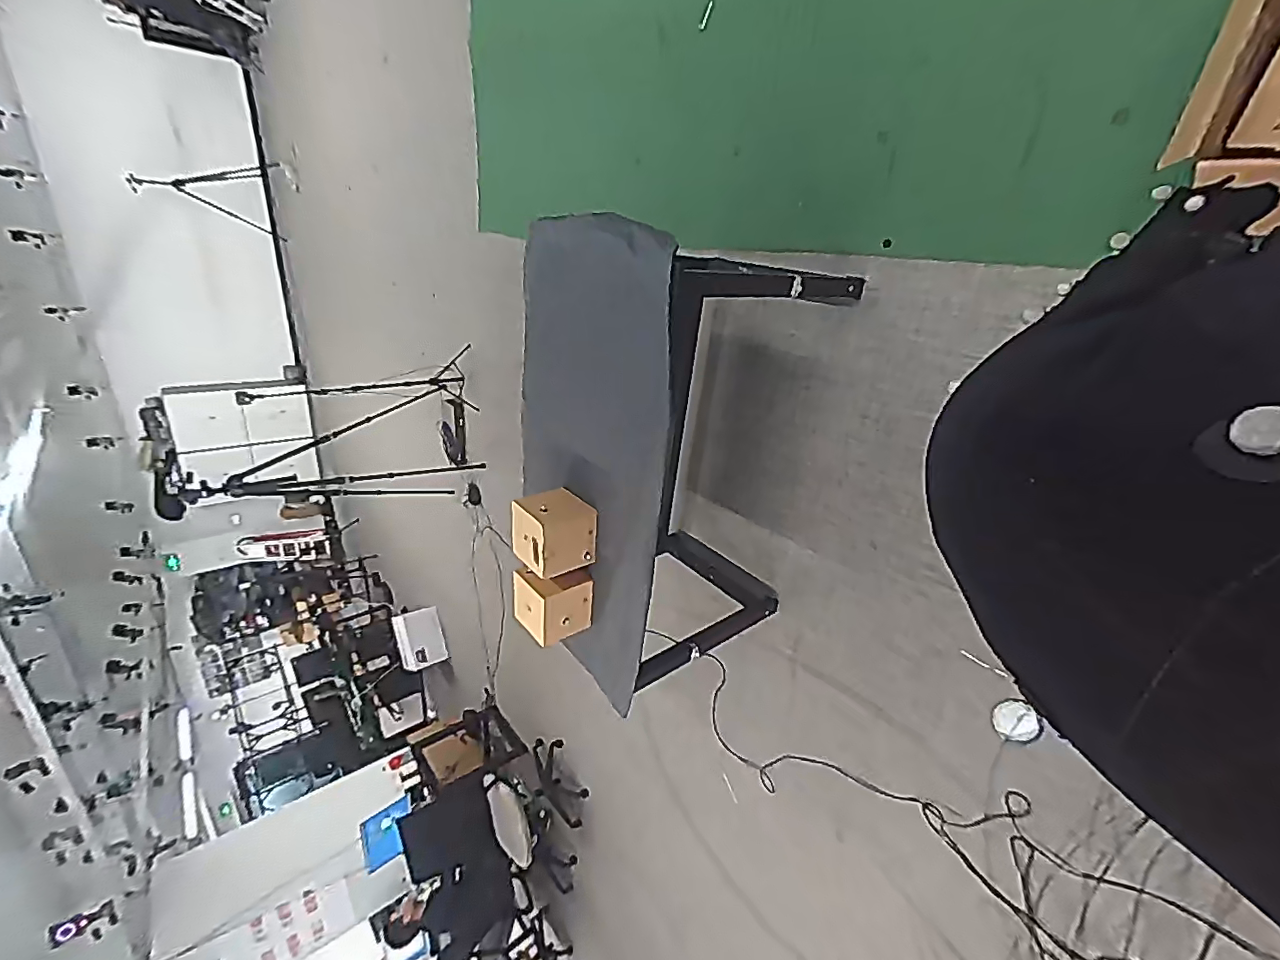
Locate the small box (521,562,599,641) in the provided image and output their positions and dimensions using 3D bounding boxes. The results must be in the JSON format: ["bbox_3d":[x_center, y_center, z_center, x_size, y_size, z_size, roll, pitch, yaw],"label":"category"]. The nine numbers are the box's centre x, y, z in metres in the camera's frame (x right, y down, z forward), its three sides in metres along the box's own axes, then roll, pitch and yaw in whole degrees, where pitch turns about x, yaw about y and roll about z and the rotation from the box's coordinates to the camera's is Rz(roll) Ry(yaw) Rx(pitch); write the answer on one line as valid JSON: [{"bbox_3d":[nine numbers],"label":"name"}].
[{"bbox_3d":[-0.234,0.335,1.590,0.179,0.176,0.168,29,124,45],"label":"small box"}]

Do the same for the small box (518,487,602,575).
[{"bbox_3d":[-0.220,0.131,1.500,0.179,0.176,0.168,30,124,45],"label":"small box"}]
